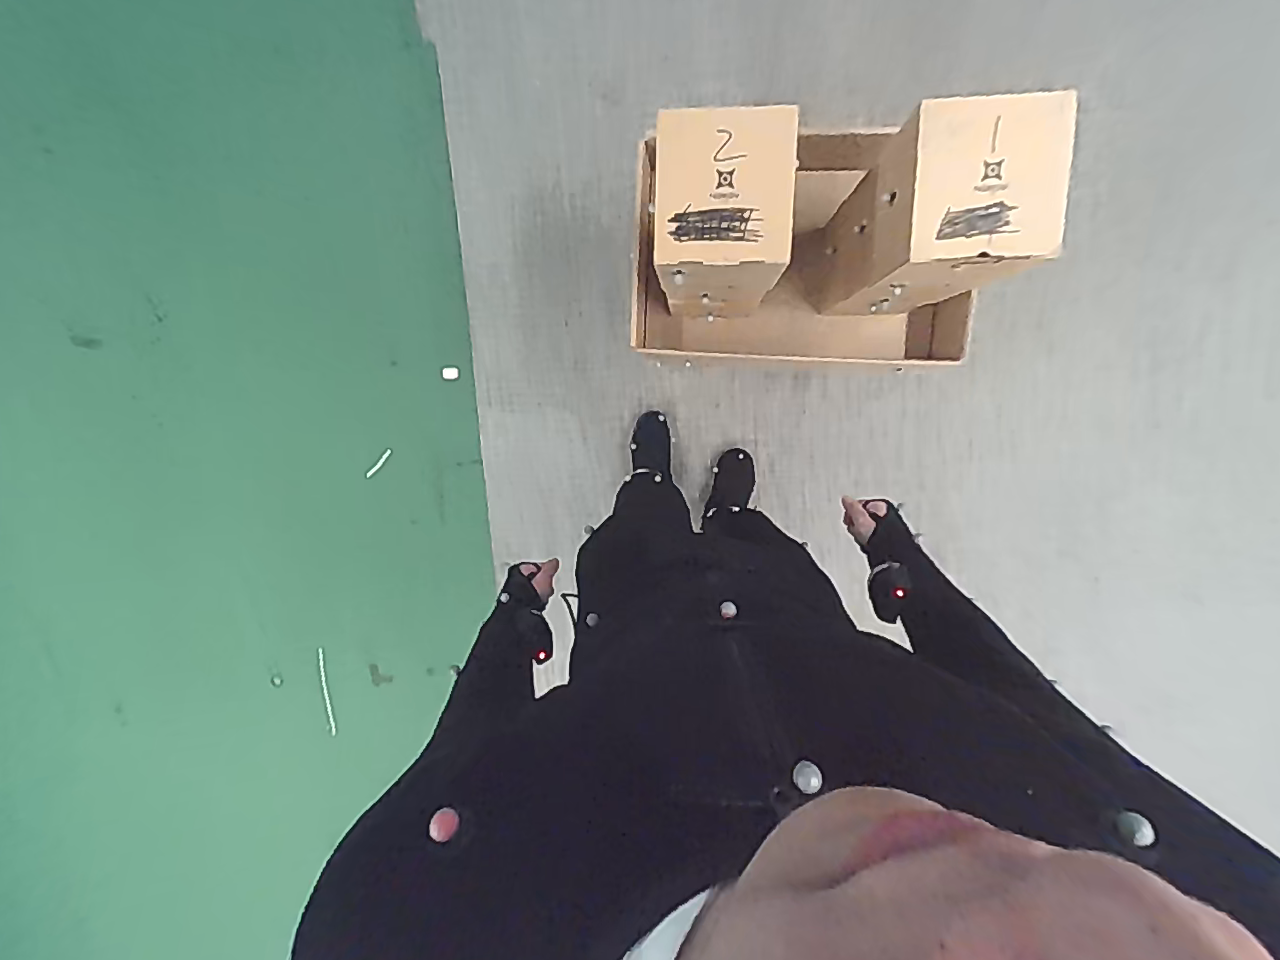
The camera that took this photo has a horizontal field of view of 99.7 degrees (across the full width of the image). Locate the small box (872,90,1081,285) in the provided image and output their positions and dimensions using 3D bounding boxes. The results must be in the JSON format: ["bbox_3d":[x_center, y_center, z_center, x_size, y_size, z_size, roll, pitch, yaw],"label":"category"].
[{"bbox_3d":[0.404,-0.350,0.683,0.168,0.176,0.179,1,98,6],"label":"small box"}]

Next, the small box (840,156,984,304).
[{"bbox_3d":[0.421,-0.379,0.844,0.168,0.176,0.179,1,99,6],"label":"small box"}]

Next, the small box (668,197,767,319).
[{"bbox_3d":[0.142,-0.414,1.030,0.168,0.176,0.179,4,98,6],"label":"small box"}]
